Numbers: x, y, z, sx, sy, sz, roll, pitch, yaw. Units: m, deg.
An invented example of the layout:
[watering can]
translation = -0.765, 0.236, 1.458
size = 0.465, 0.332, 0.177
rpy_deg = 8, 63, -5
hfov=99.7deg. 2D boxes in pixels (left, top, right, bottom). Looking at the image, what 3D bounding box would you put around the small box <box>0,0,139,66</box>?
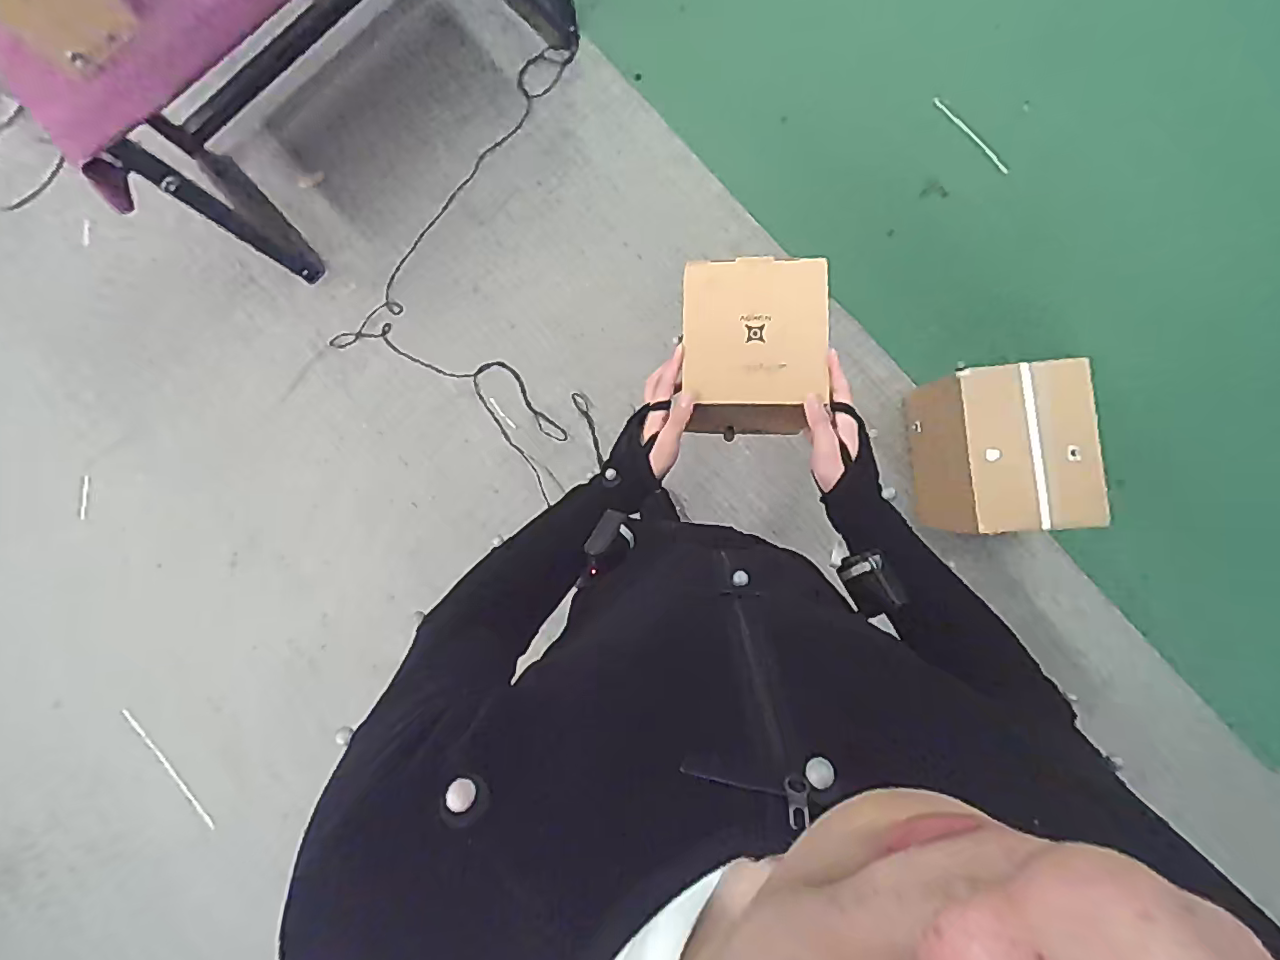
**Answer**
[small box]
translation = -1.051, -0.880, 0.945
size = 0.168, 0.176, 0.179
rpy_deg = -41, 85, 0
